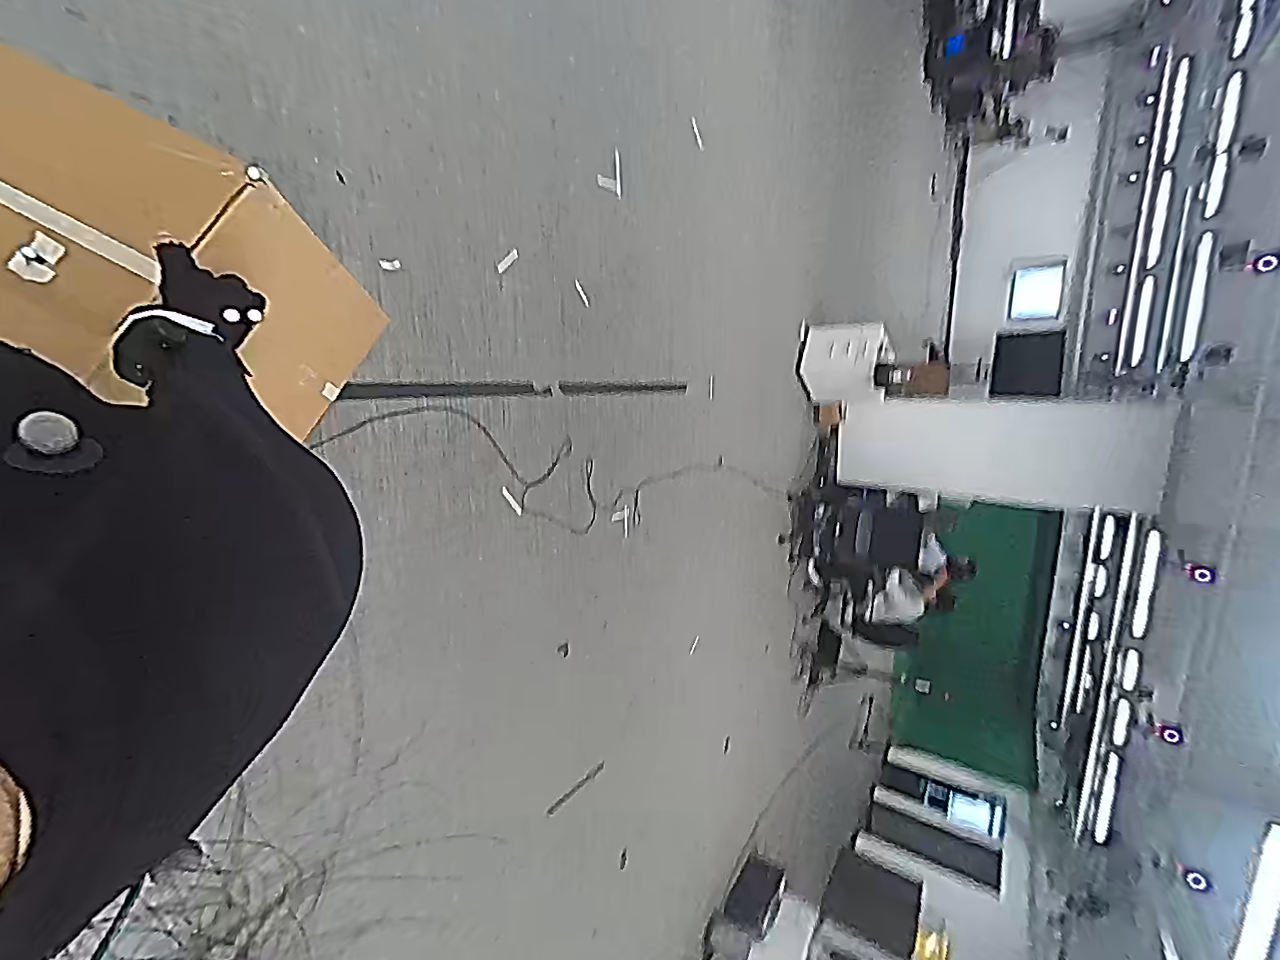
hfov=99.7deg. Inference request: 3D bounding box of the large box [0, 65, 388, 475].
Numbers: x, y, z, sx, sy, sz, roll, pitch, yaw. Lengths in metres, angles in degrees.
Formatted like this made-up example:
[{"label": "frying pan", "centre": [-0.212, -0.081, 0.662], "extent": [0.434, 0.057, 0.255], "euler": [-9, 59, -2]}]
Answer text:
[{"label": "large box", "centre": [-0.661, -0.257, 0.752], "extent": [0.320, 0.408, 0.320], "euler": [-61, 173, -12]}]
